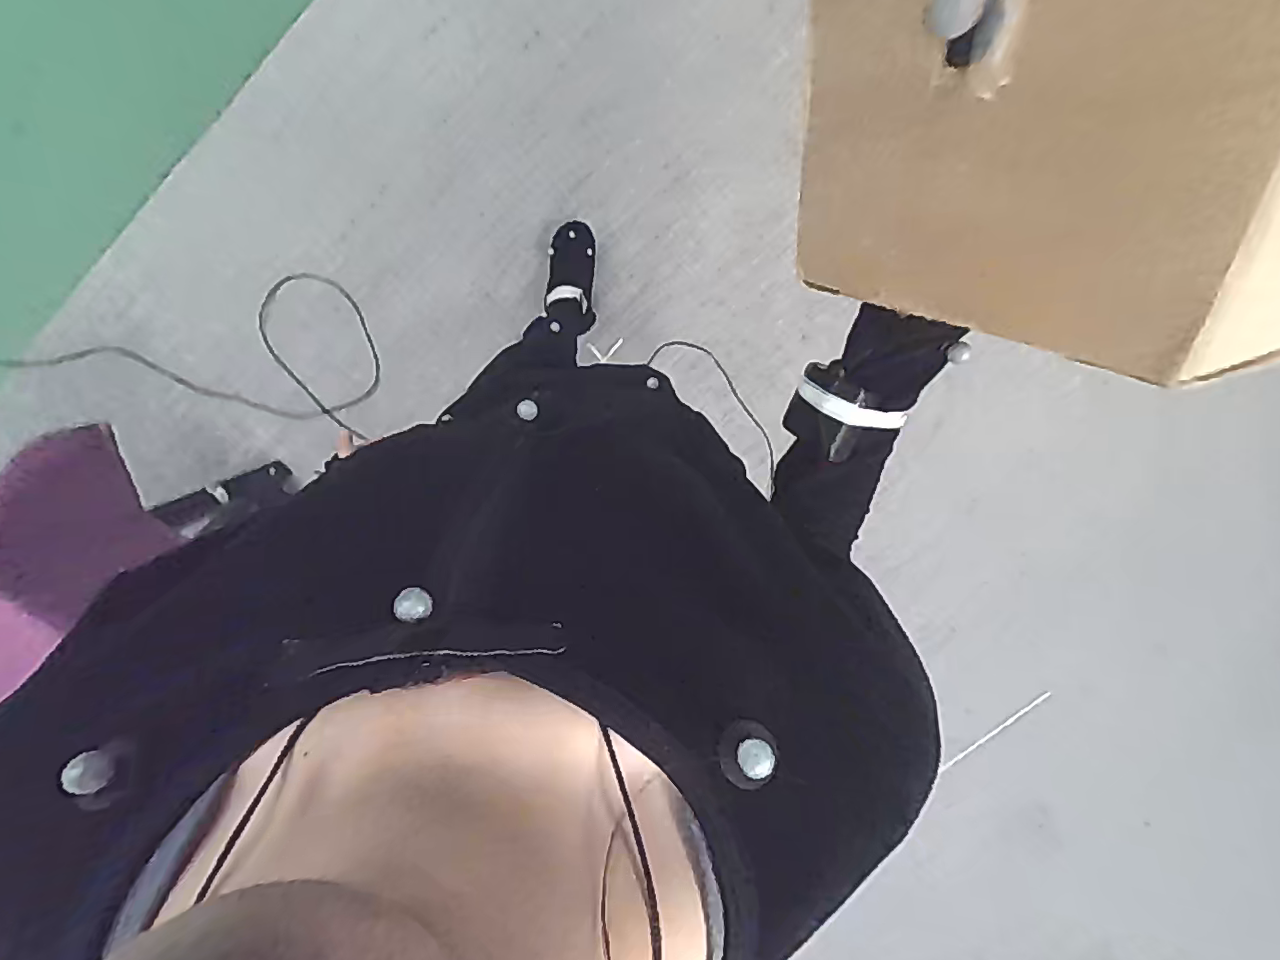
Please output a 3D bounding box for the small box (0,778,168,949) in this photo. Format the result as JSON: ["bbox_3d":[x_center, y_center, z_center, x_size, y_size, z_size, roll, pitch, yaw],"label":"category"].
[{"bbox_3d":[-0.879,0.594,0.806,0.168,0.176,0.179,-41,102,8],"label":"small box"}]

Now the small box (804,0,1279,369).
[{"bbox_3d":[0.179,-0.155,0.175,0.179,0.168,0.176,-16,125,-15],"label":"small box"}]
